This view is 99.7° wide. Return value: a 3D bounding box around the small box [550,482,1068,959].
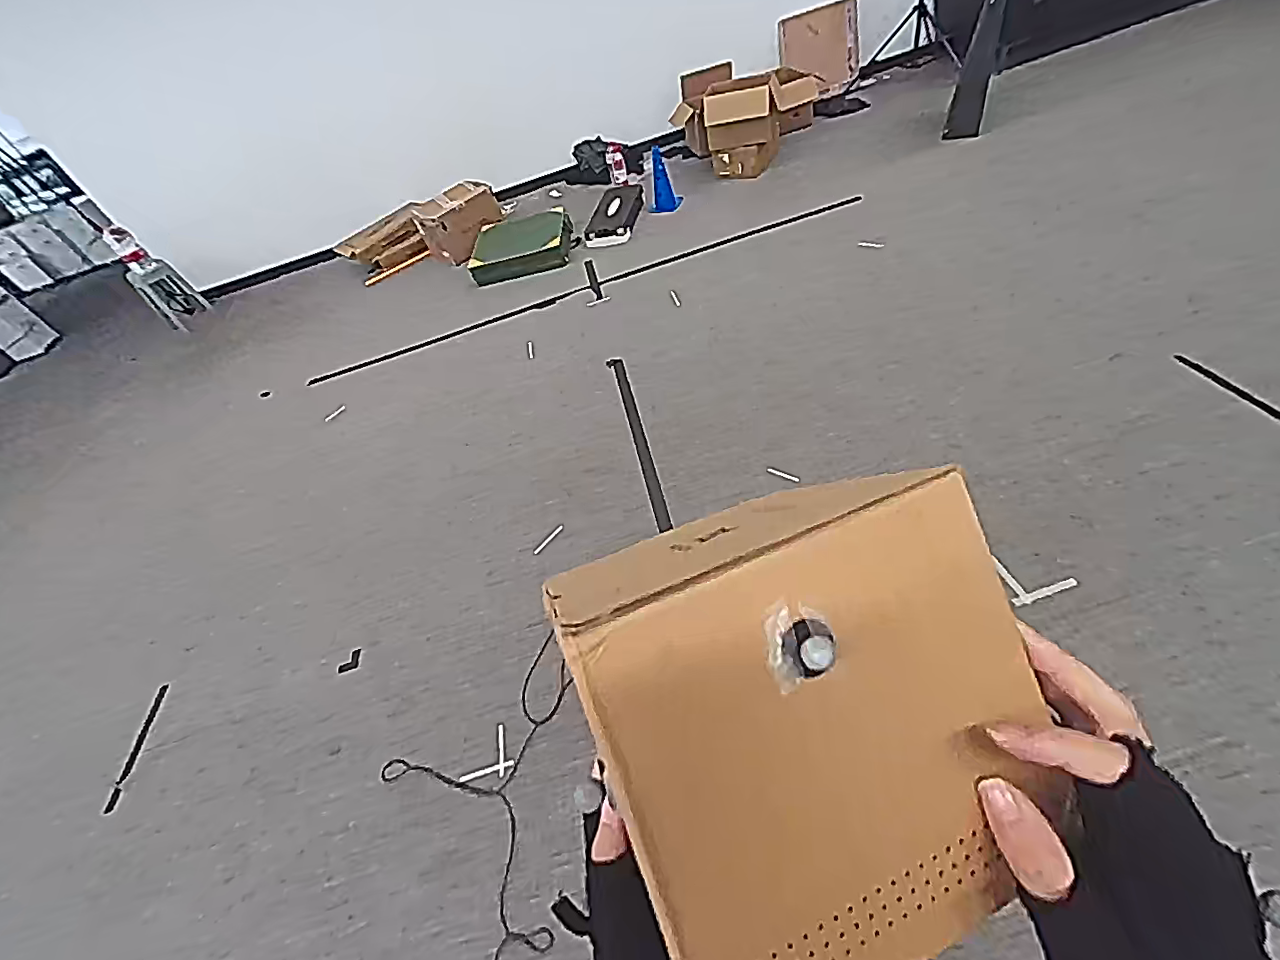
[{"bbox_3d":[0.065,0.114,0.280,0.179,0.168,0.176,-20,89,-13],"label":"small box"}]
